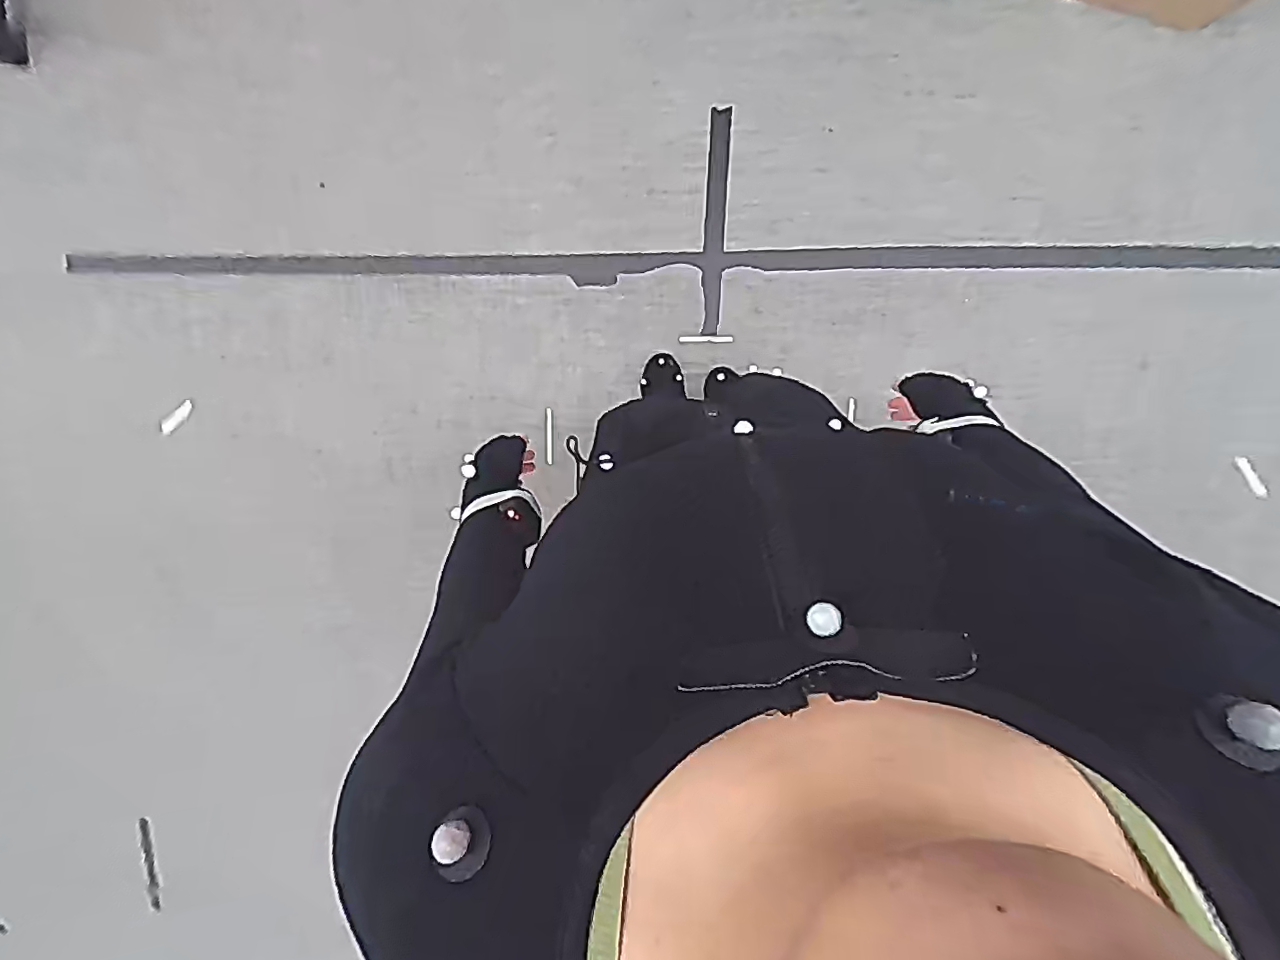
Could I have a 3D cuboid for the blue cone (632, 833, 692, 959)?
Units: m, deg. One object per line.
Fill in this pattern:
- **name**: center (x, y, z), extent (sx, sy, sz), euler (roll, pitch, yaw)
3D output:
- **blue cone**: center (0.055, 1.261, 1.578), extent (0.193, 0.380, 0.192), euler (6, 104, 3)
